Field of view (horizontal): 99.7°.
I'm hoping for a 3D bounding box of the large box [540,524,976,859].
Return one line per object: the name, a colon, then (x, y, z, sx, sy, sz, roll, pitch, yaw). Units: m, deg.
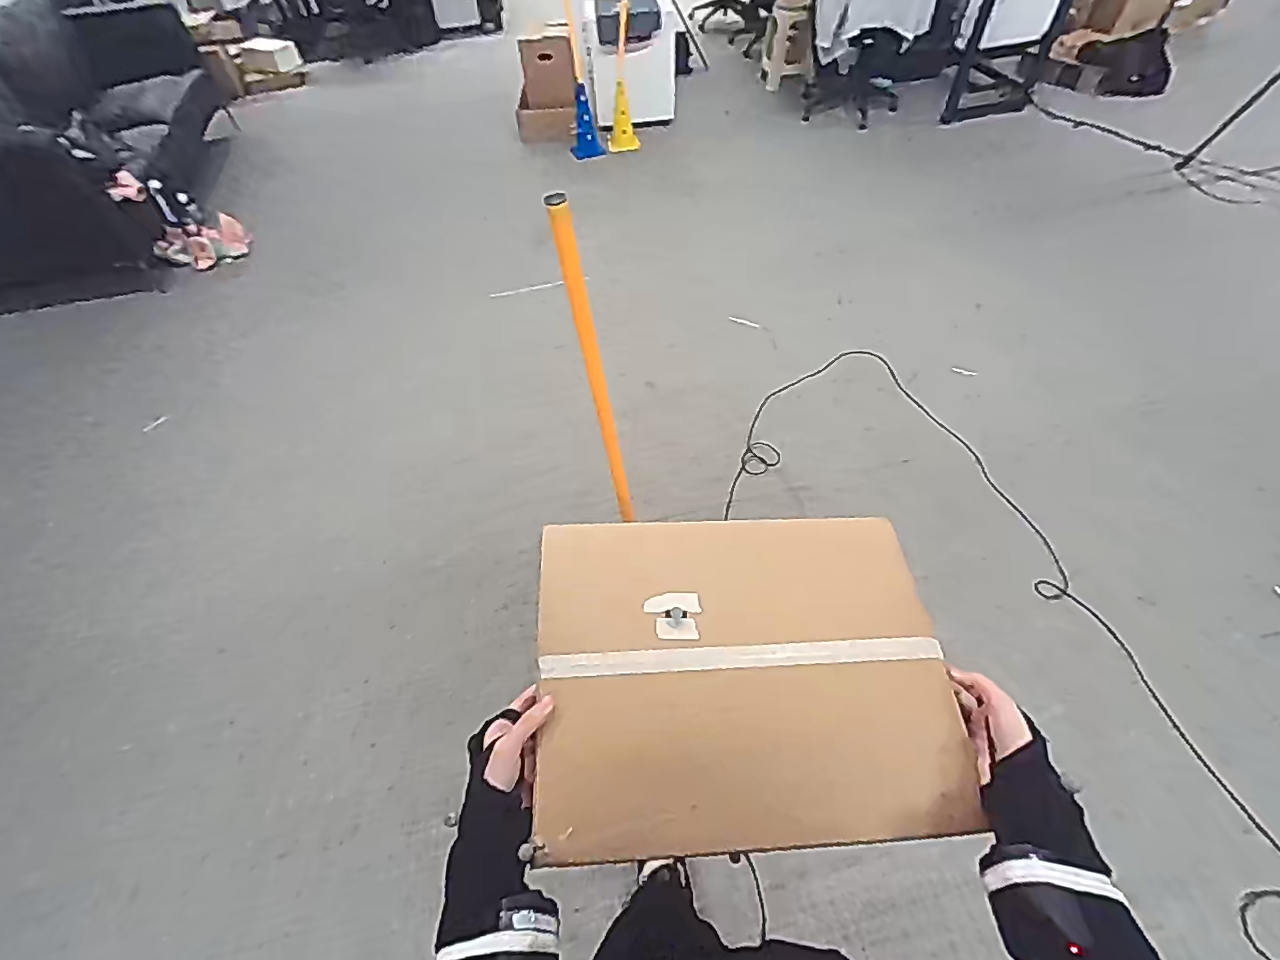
large box: (0.096, 0.265, 0.679, 0.408, 0.320, 0.320, -1, 57, -4)
